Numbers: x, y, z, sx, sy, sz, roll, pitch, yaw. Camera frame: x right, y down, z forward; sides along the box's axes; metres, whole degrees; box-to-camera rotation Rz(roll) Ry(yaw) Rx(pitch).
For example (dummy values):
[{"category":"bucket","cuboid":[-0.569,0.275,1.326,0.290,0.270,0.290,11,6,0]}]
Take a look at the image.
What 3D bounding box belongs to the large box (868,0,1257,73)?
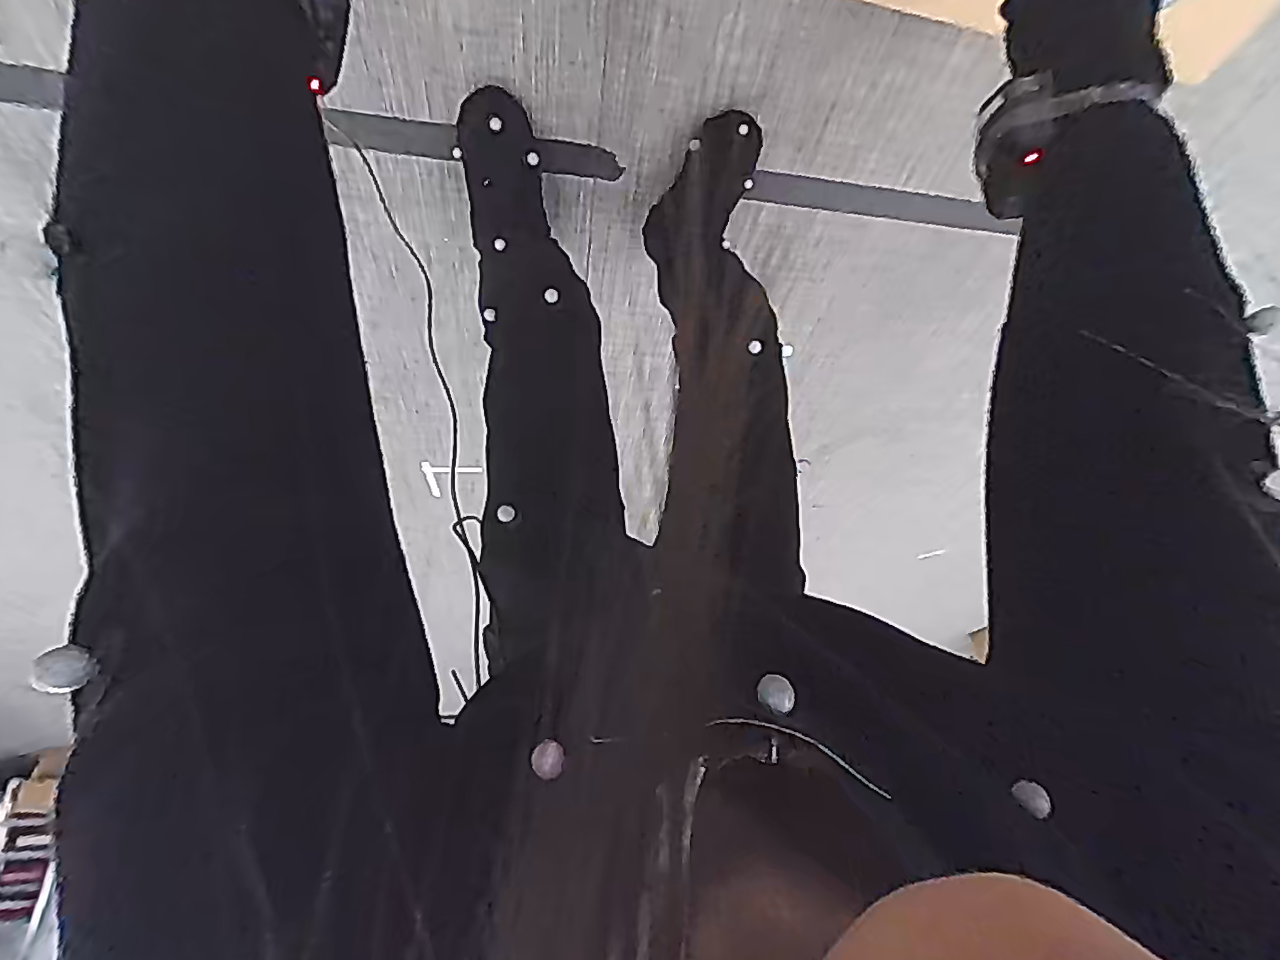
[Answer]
[{"category":"large box","cuboid":[0.361,-0.612,0.451,0.408,0.320,0.320,2,146,-13]}]
